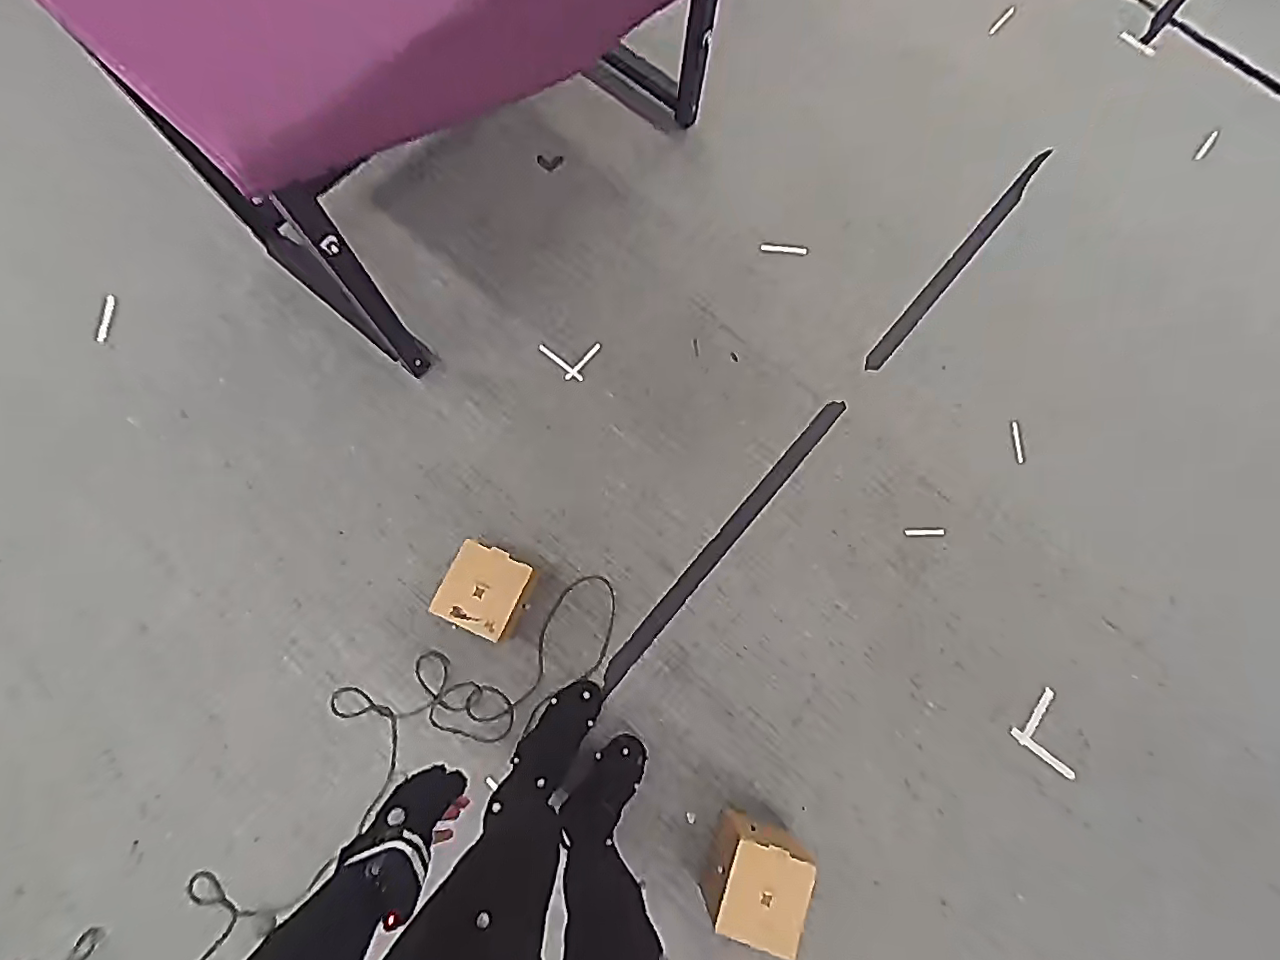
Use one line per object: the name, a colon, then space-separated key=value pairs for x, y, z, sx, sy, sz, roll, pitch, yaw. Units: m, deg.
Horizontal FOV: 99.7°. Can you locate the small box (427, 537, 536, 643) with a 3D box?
small box: x=-0.349 y=0.253 z=1.231 sx=0.168 sy=0.176 sz=0.179 roll=25 pitch=75 yaw=2

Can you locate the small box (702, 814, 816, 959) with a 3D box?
small box: x=0.239 y=0.836 z=1.126 sx=0.168 sy=0.176 sz=0.179 roll=20 pitch=76 yaw=2
